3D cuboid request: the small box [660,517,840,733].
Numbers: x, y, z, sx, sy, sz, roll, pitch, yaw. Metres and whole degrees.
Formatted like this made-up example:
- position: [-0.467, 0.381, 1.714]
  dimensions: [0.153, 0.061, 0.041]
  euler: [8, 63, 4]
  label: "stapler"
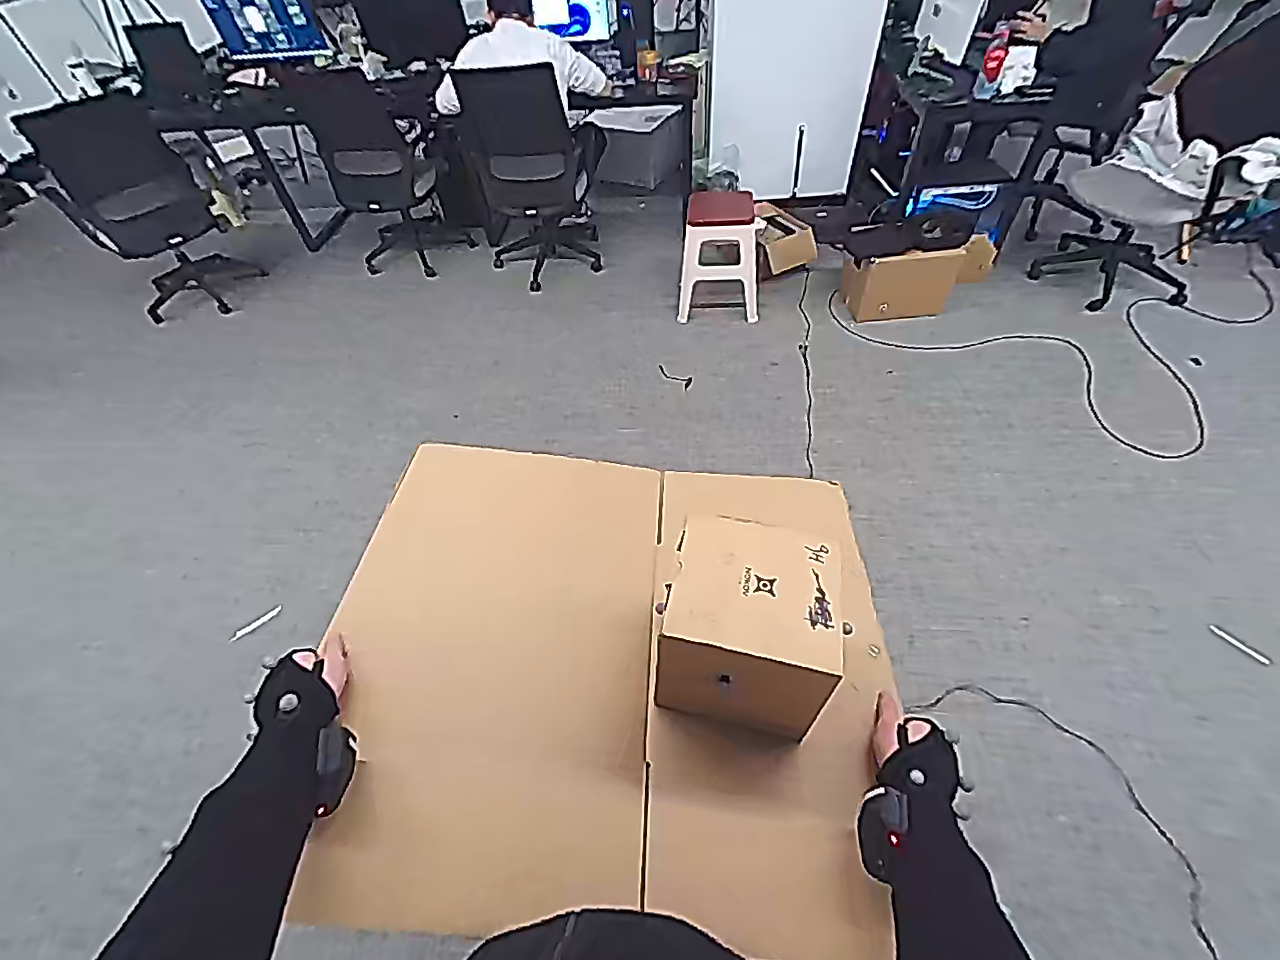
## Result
- position: [0.123, 0.169, 0.628]
  dimensions: [0.179, 0.176, 0.168]
  euler: [10, 47, 10]
  label: "small box"
